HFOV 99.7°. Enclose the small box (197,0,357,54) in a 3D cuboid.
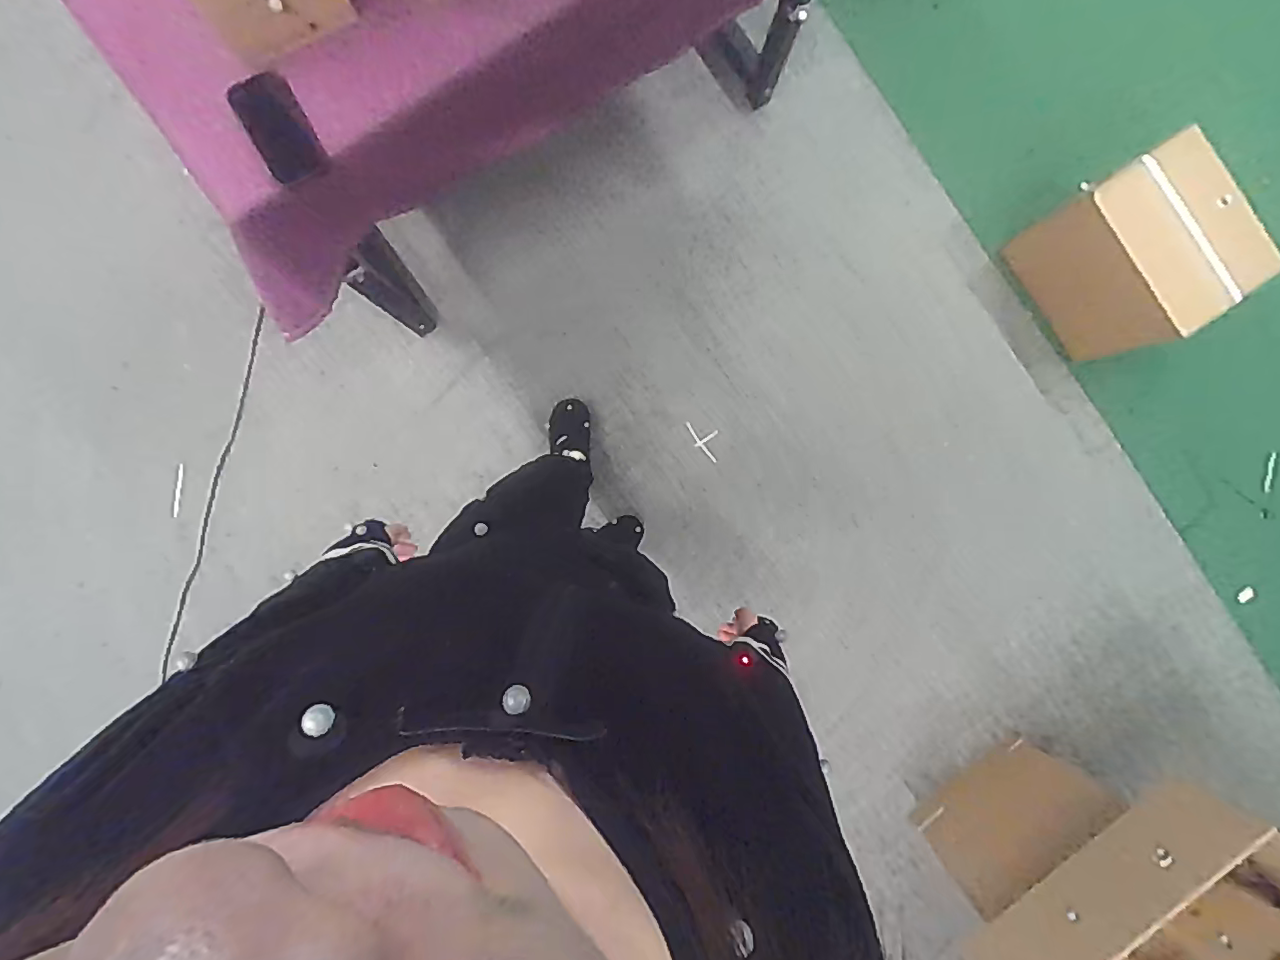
[{"bbox_3d":[-0.488,-0.675,0.661,0.168,0.176,0.179,-27,92,-3],"label":"small box"}]
